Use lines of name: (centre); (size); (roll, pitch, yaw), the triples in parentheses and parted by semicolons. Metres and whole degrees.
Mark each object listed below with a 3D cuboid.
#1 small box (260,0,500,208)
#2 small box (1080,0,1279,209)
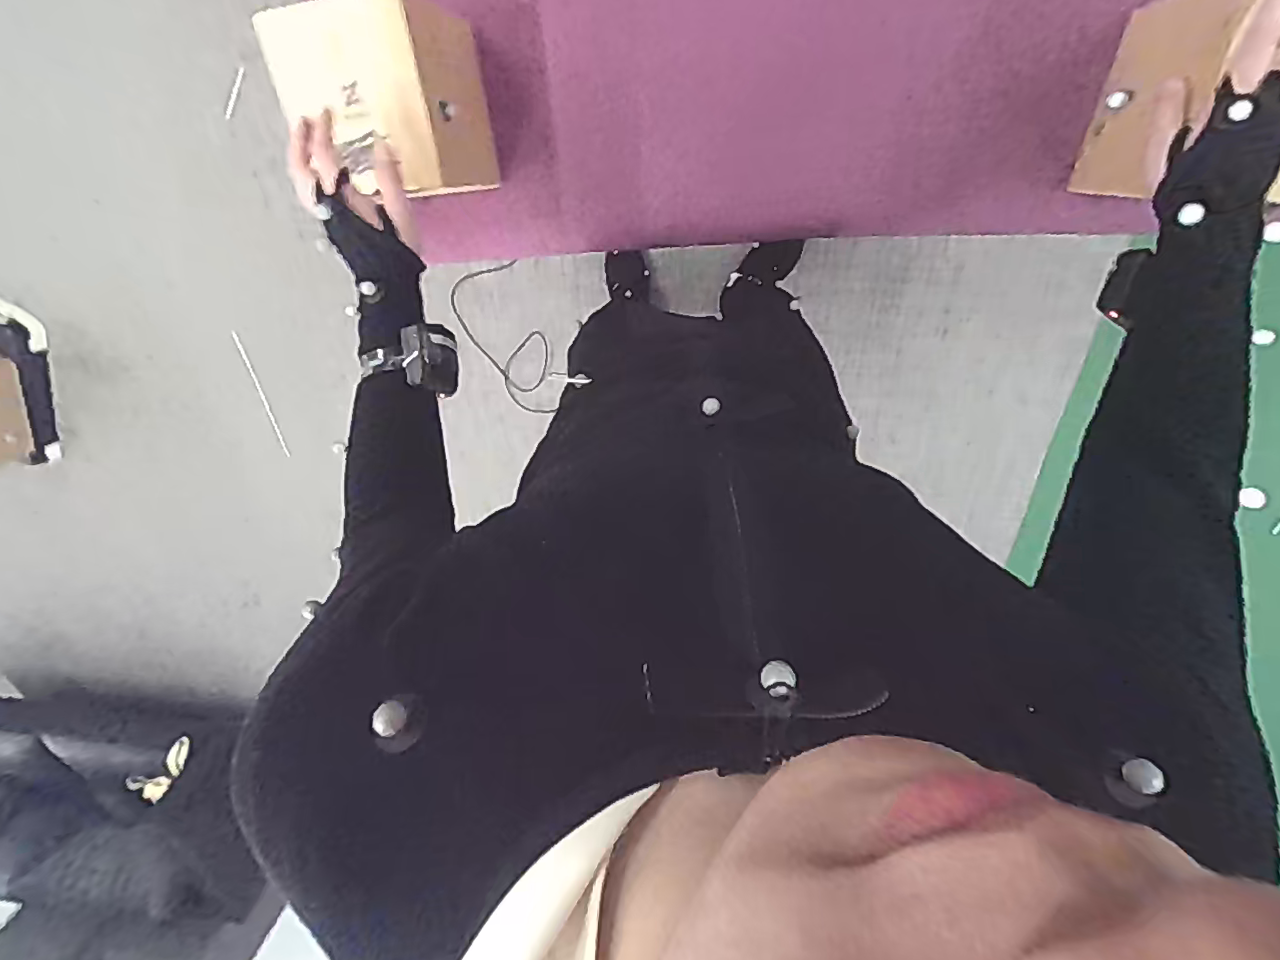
small box: (-0.285, -0.430, 0.640); (0.168, 0.176, 0.179); (0, 118, 12)
small box: (0.574, -0.350, 0.502); (0.179, 0.176, 0.168); (7, 120, 9)
